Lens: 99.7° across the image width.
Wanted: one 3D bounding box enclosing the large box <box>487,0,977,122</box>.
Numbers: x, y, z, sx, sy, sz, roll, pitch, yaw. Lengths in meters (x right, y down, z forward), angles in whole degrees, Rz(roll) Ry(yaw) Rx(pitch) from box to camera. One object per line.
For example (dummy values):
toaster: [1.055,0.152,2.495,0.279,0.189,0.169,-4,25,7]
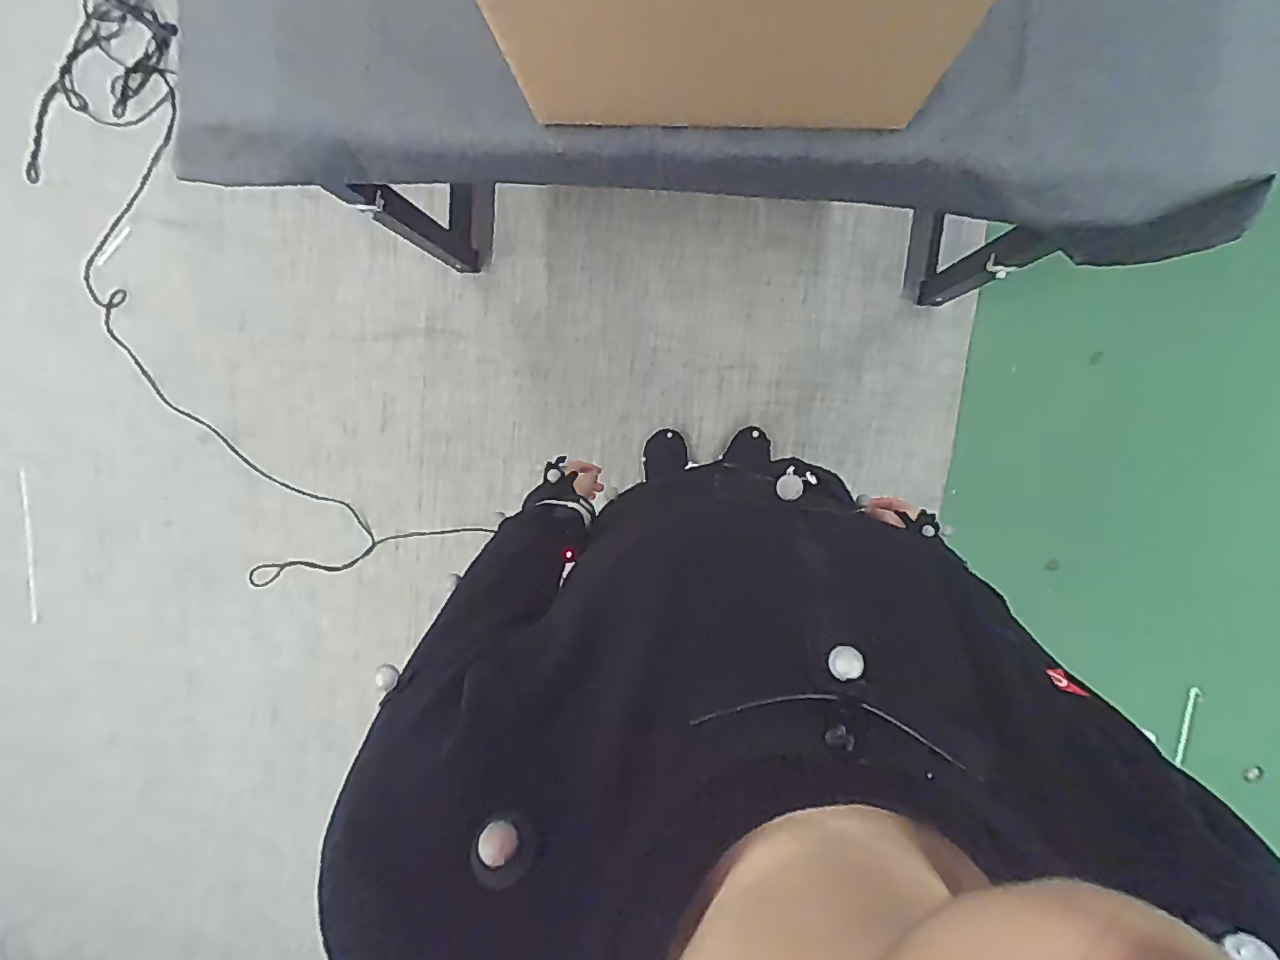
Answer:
large box: [0.076,-0.533,0.433,0.408,0.320,0.320,3,96,4]
